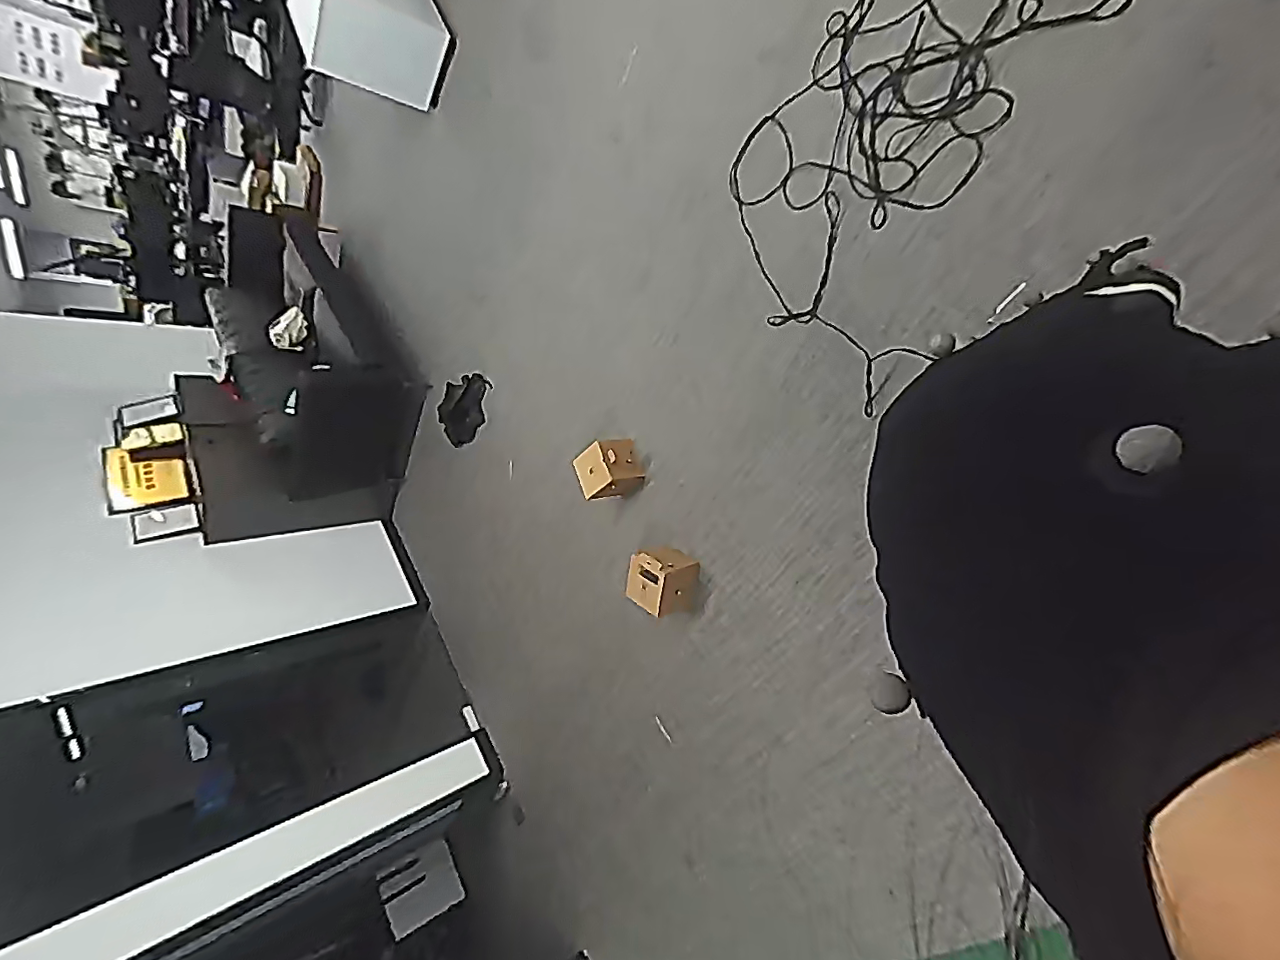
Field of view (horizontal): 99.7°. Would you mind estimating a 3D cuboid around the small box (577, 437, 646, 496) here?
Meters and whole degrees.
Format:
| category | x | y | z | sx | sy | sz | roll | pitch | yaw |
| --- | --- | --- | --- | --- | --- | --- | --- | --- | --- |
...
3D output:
| category | x | y | z | sx | sy | sz | roll | pitch | yaw |
| --- | --- | --- | --- | --- | --- | --- | --- | --- | --- |
| small box | -0.106 | -0.052 | 2.043 | 0.179 | 0.176 | 0.168 | -36 | 69 | 43 |
